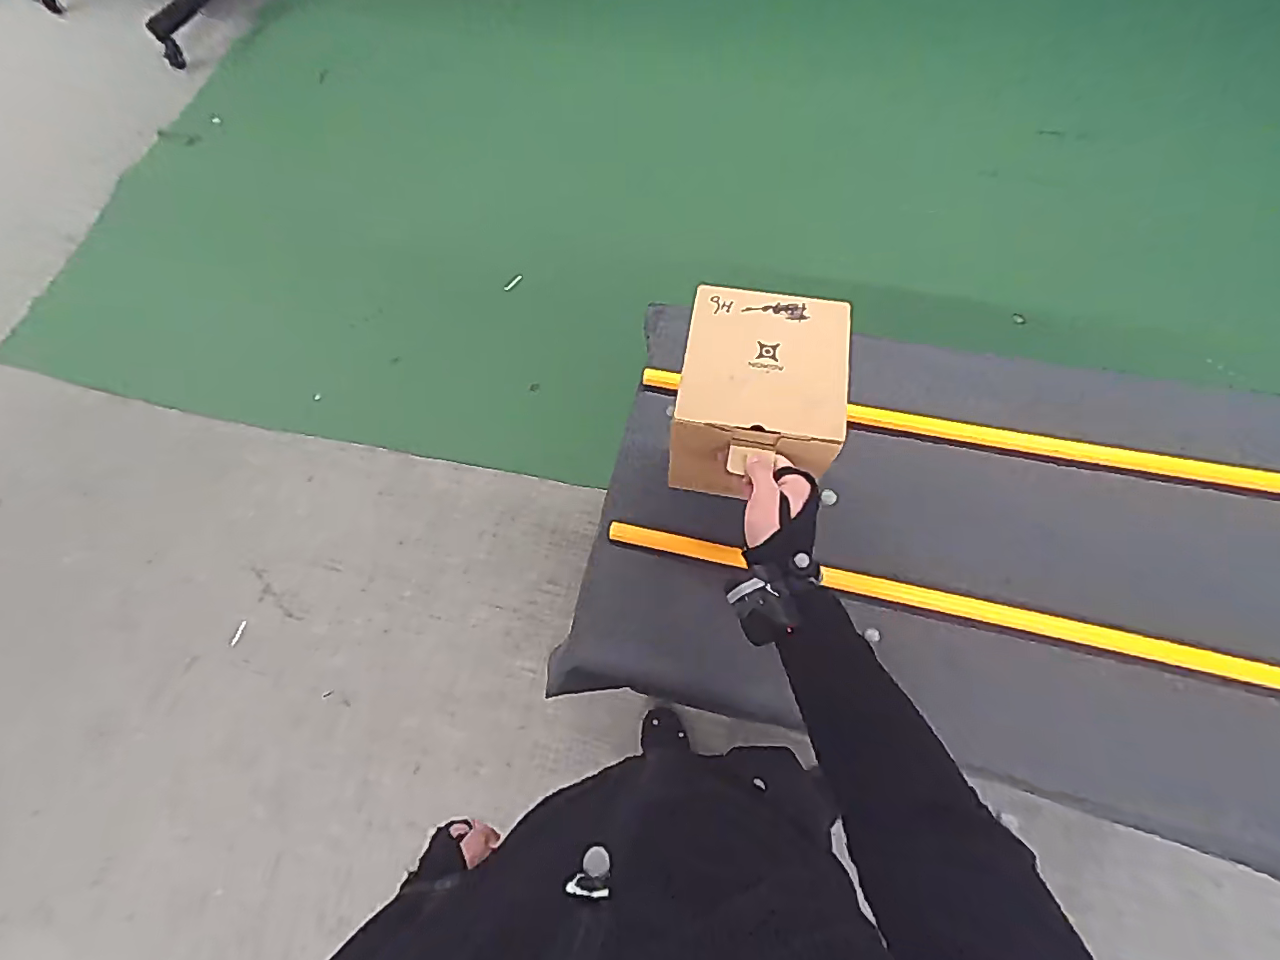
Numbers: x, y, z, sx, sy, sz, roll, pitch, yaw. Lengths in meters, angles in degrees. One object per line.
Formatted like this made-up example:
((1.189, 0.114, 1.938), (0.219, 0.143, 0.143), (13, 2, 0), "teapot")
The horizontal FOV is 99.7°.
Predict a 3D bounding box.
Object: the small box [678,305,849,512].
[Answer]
((0.137, -0.075, 0.628), (0.168, 0.176, 0.179), (6, 65, 7), "small box")
